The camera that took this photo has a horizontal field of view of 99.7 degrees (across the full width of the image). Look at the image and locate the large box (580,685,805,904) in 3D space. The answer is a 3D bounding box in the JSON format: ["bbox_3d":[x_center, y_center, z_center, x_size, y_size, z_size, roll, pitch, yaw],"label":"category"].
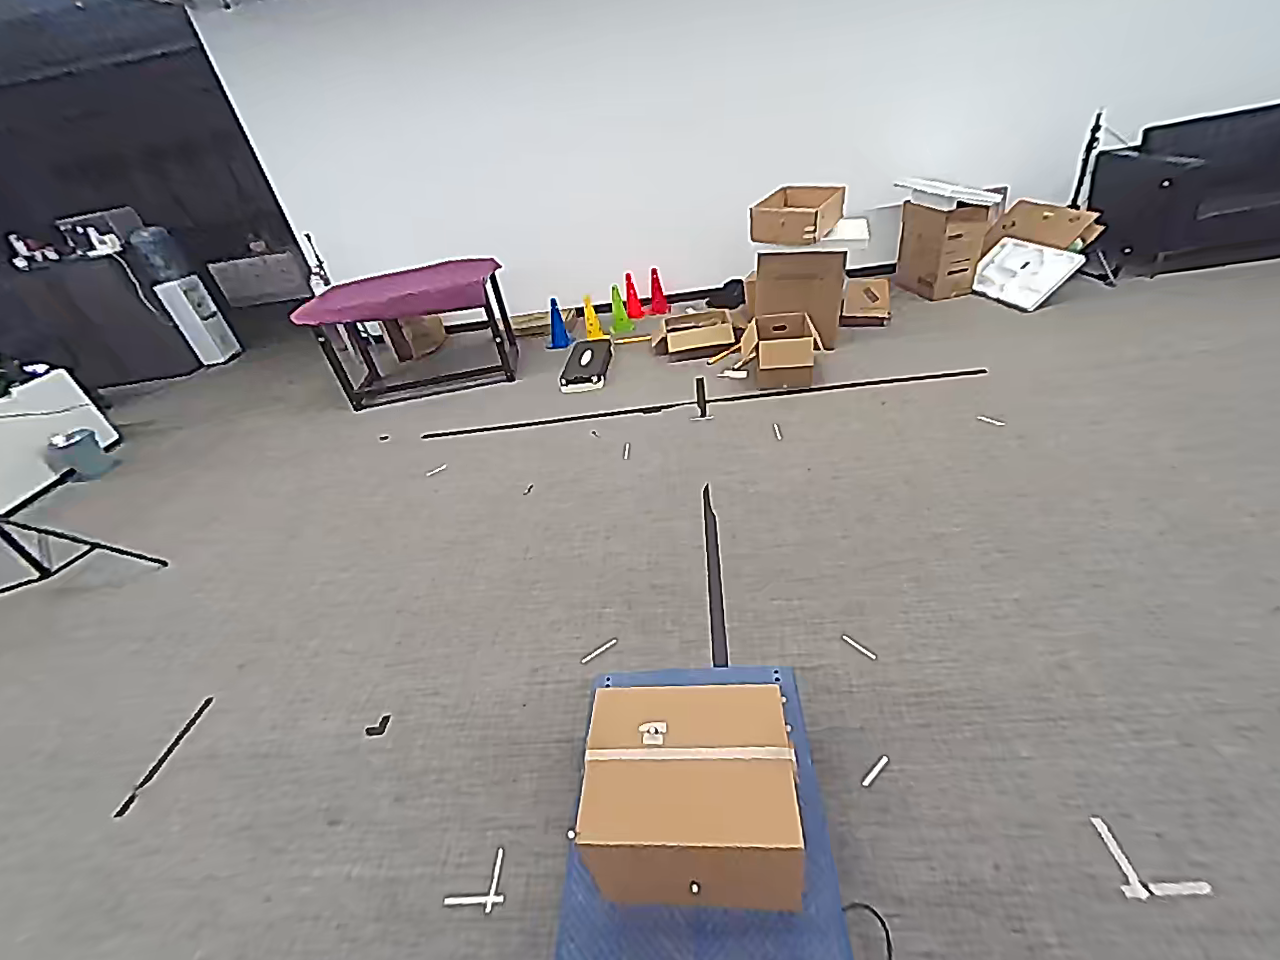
[{"bbox_3d":[0.119,0.675,1.160,0.408,0.320,0.320,-6,34,8],"label":"large box"}]
